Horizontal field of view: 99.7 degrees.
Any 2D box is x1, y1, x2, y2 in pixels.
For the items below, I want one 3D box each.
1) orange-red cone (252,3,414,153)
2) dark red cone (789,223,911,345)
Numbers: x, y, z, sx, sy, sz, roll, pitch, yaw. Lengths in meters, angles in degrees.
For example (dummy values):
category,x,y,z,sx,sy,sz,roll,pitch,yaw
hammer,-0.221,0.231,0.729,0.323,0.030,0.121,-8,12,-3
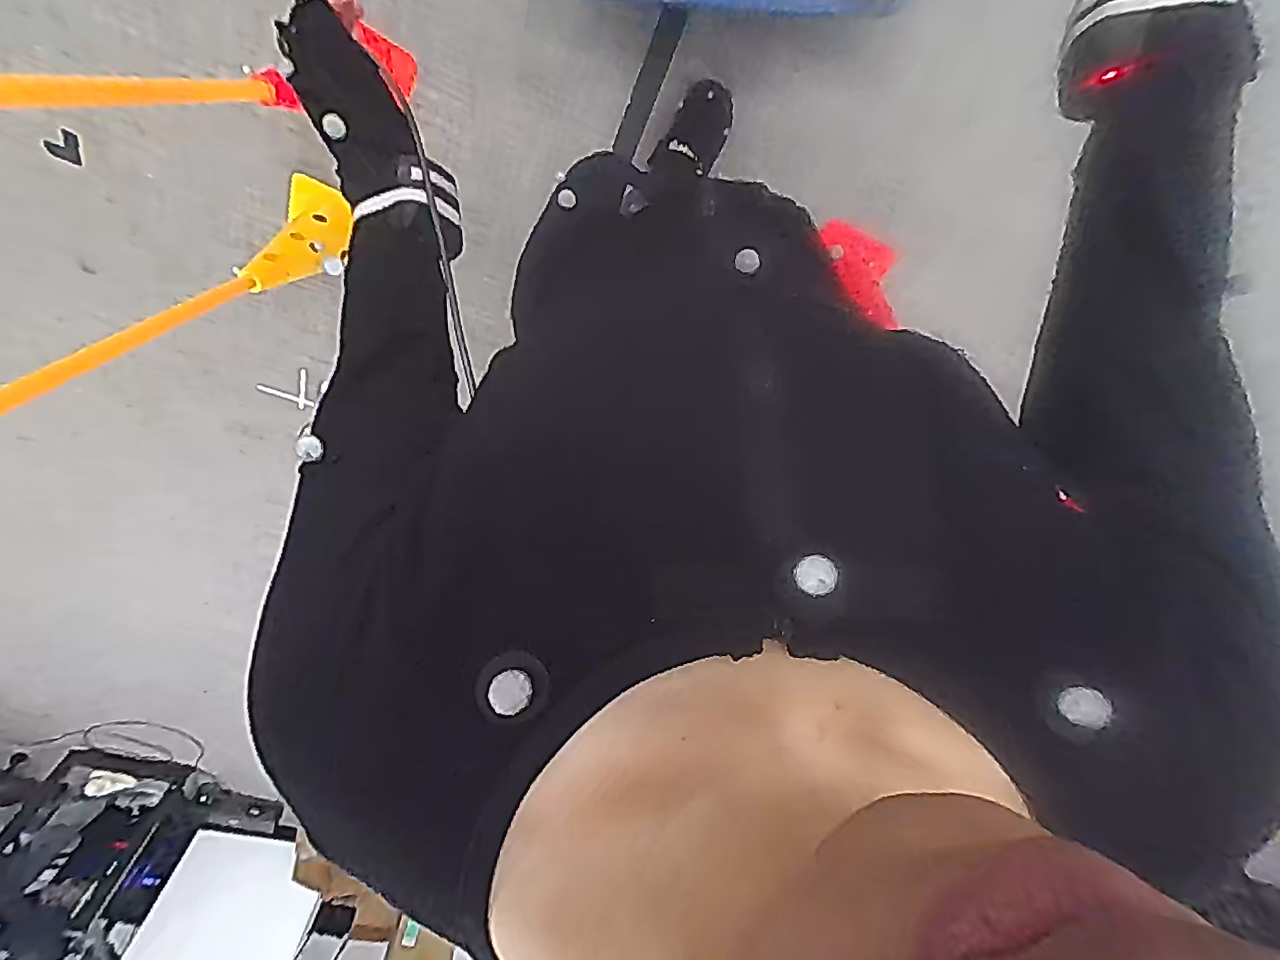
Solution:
category,x,y,z,sx,sy,sz,roll,pitch,yaw
orange-red cone,-0.581,-0.710,0.970,0.198,0.360,0.199,26,122,-19
dark red cone,0.488,-0.392,1.176,0.201,0.394,0.202,18,126,-15
